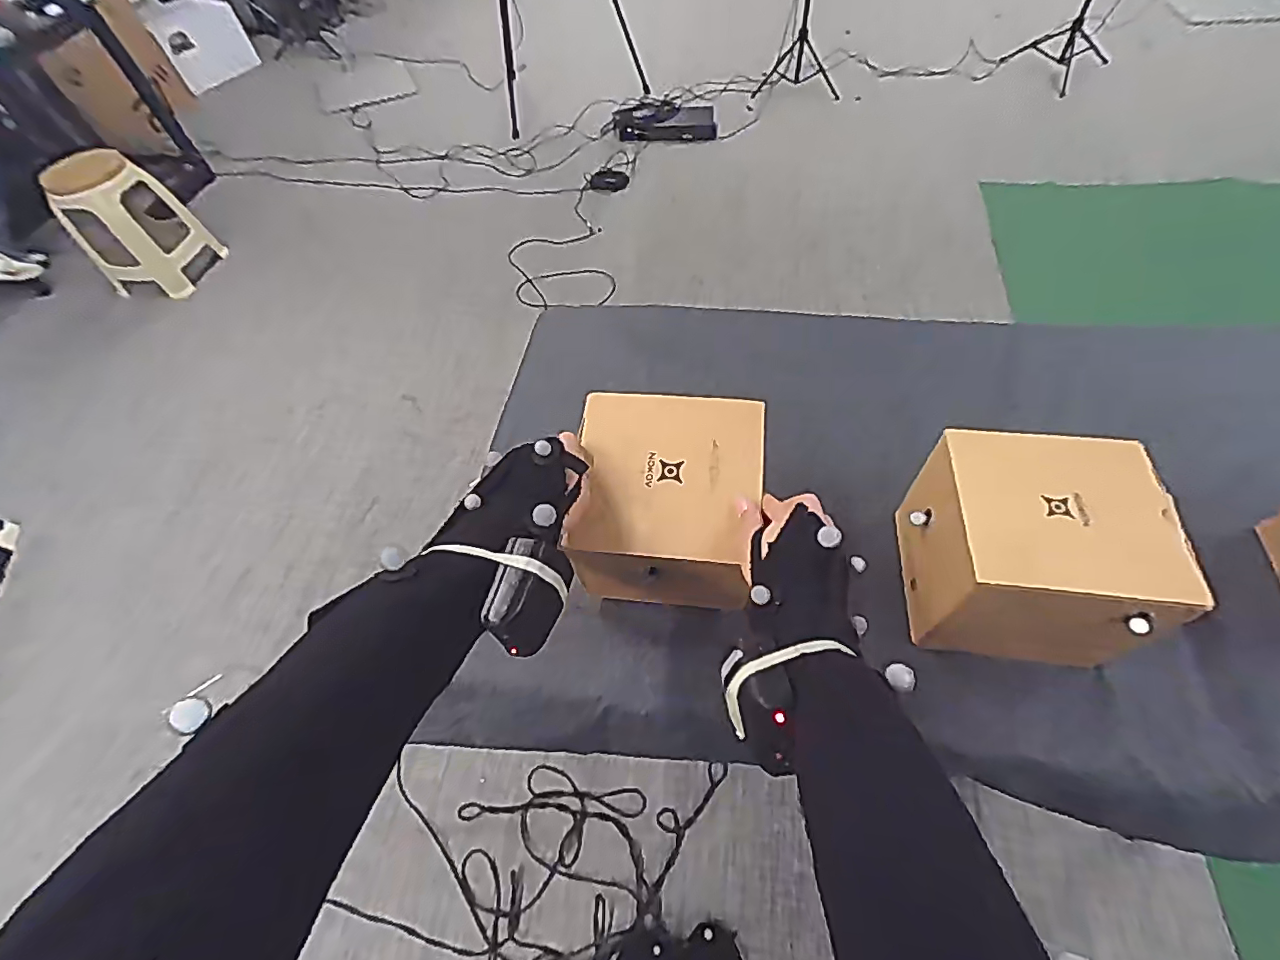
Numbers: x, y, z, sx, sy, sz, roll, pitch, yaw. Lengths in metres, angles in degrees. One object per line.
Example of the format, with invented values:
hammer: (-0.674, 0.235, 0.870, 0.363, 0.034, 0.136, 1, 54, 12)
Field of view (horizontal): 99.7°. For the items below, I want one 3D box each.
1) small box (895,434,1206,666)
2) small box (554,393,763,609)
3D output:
small box: (0.370, 0.074, 0.538, 0.179, 0.176, 0.168, 5, 56, 8)
small box: (0.026, 0.029, 0.558, 0.179, 0.176, 0.168, 5, 65, 6)
